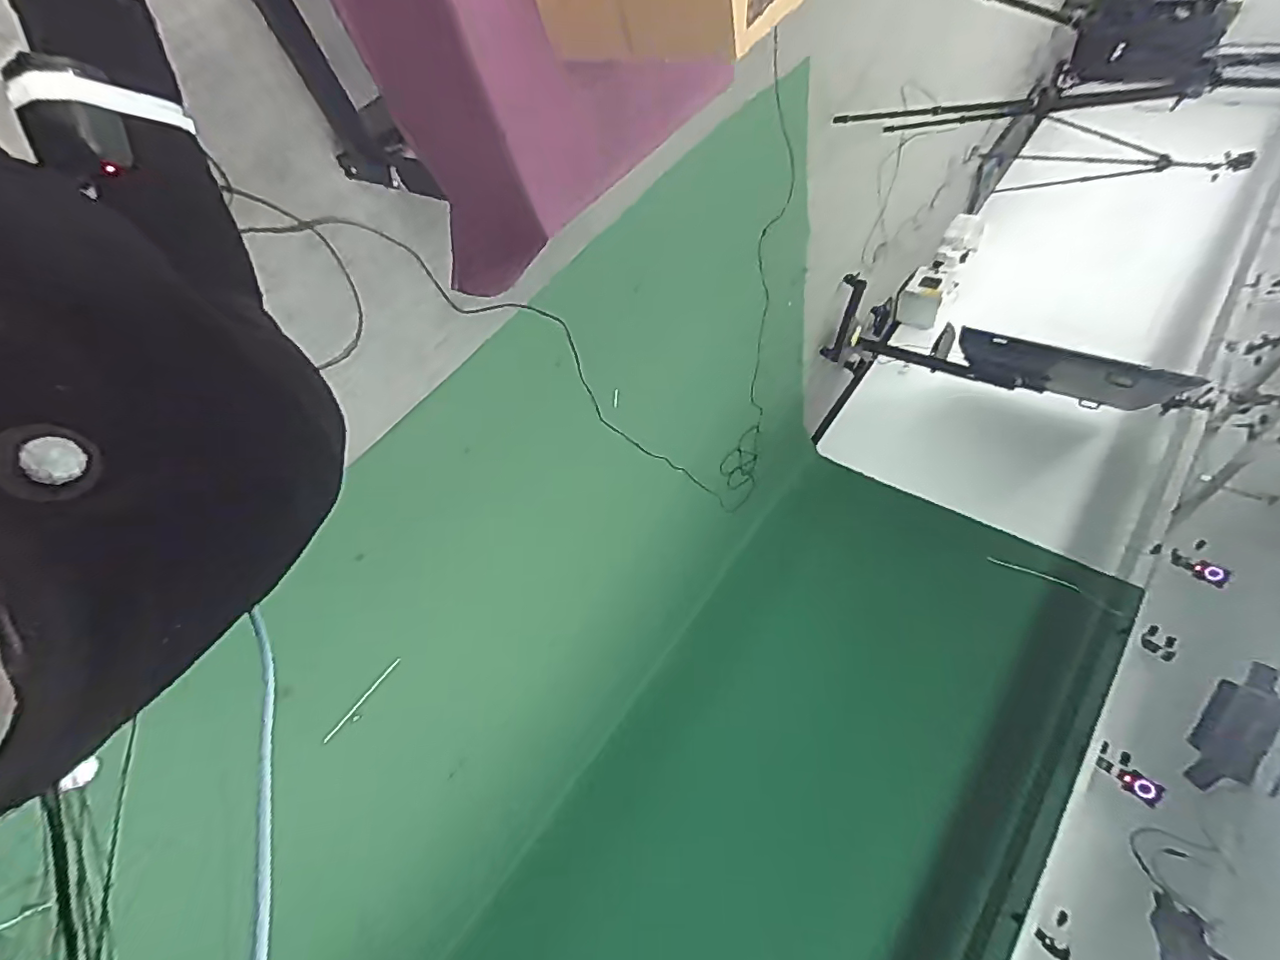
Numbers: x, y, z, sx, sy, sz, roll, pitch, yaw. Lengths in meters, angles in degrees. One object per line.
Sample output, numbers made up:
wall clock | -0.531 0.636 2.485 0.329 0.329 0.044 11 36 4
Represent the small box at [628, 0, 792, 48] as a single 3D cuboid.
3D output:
small box | 0.084 -0.660 0.650 0.168 0.176 0.179 -51 147 -18
